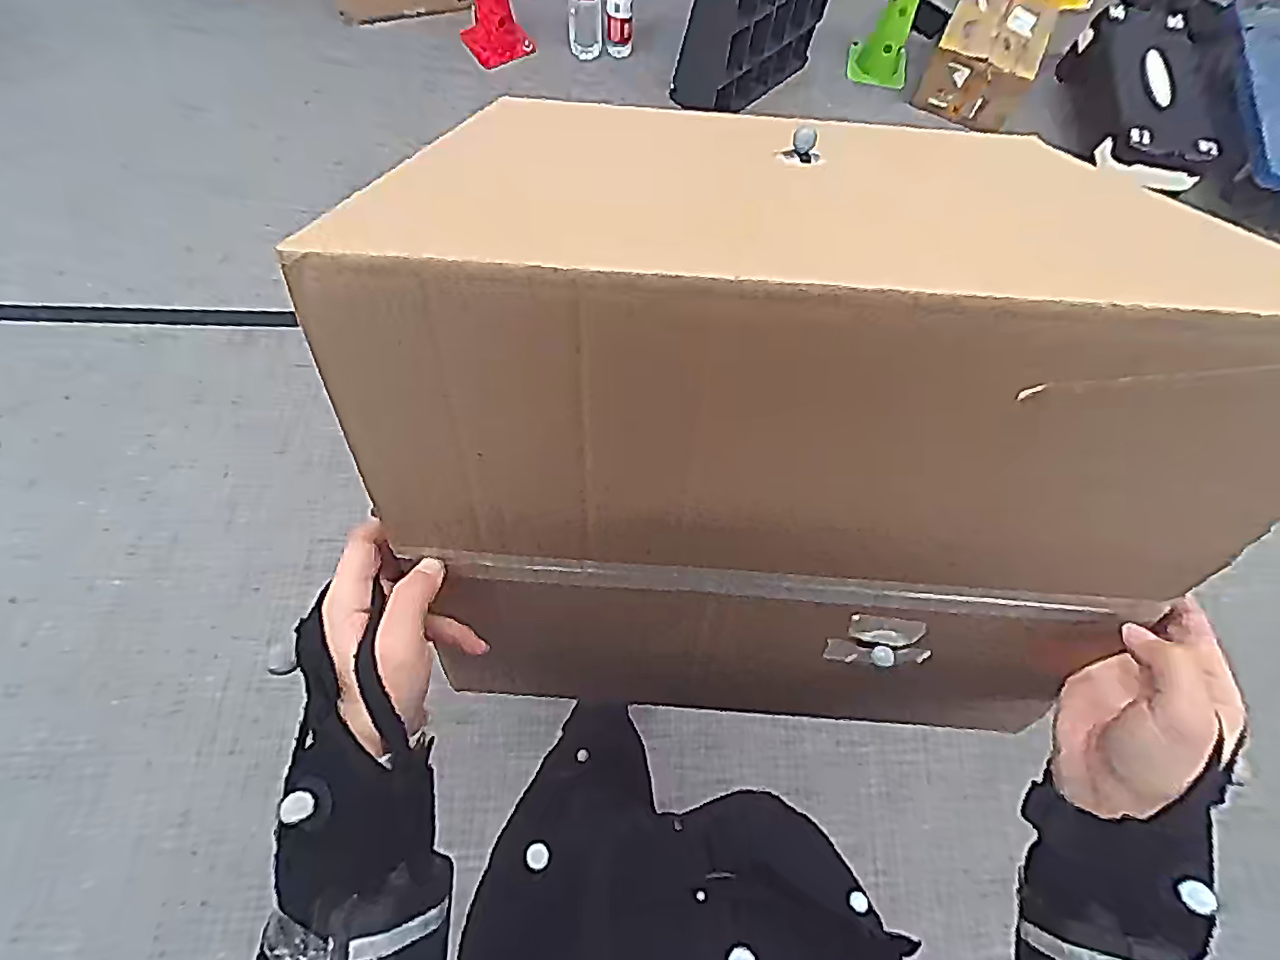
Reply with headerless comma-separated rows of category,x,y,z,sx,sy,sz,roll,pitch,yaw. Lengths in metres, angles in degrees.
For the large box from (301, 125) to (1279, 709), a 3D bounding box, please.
large box,0.071,-0.054,0.403,0.408,0.320,0.320,3,44,0
